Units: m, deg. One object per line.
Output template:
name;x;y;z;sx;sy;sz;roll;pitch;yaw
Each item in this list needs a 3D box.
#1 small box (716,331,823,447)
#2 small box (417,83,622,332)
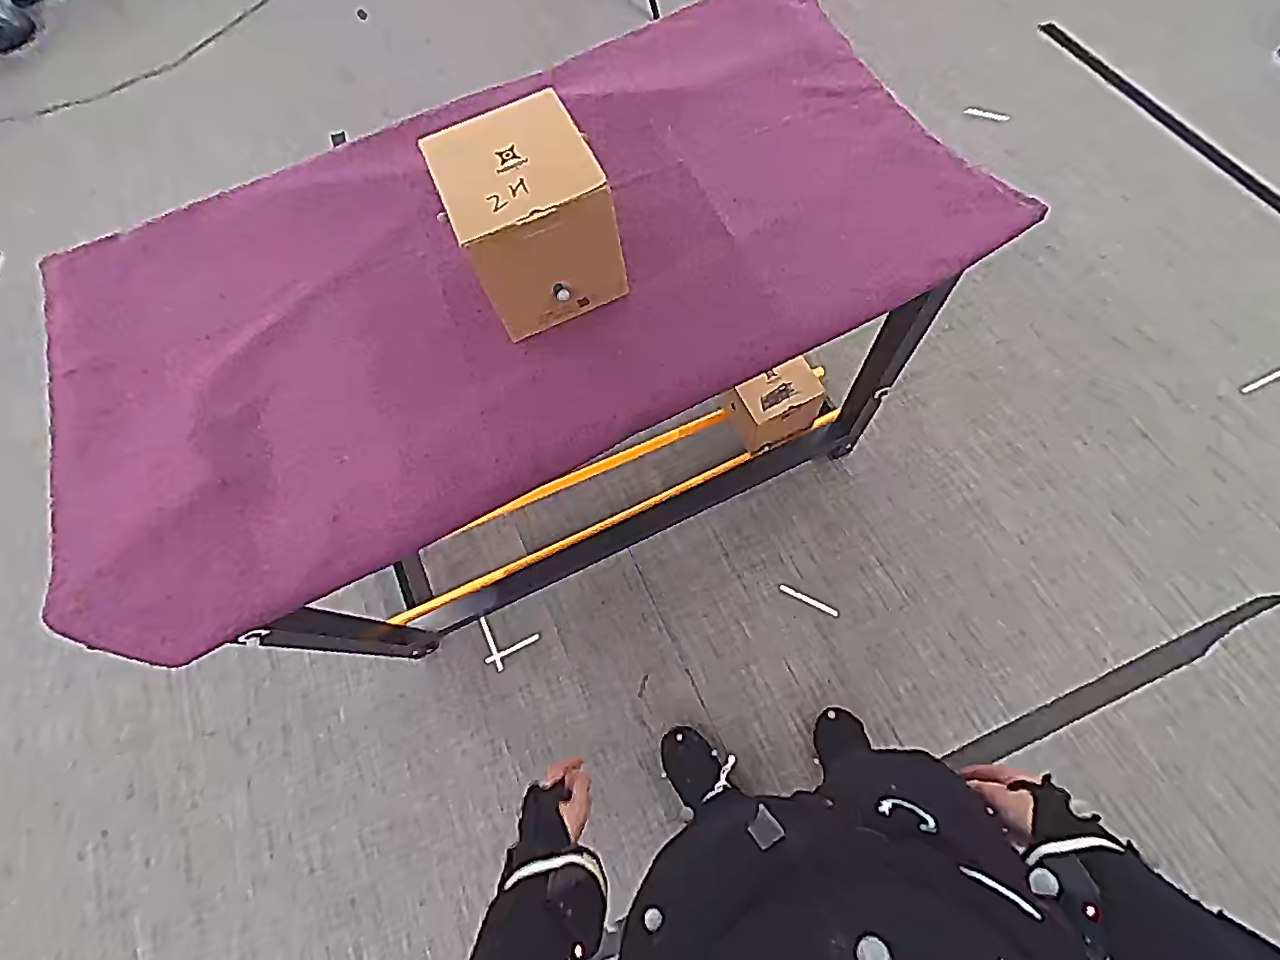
small box;0.283;-0.193;1.215;0.168;0.176;0.179;-25;68;-3
small box;-0.134;-0.314;0.646;0.168;0.176;0.179;-24;69;-3
